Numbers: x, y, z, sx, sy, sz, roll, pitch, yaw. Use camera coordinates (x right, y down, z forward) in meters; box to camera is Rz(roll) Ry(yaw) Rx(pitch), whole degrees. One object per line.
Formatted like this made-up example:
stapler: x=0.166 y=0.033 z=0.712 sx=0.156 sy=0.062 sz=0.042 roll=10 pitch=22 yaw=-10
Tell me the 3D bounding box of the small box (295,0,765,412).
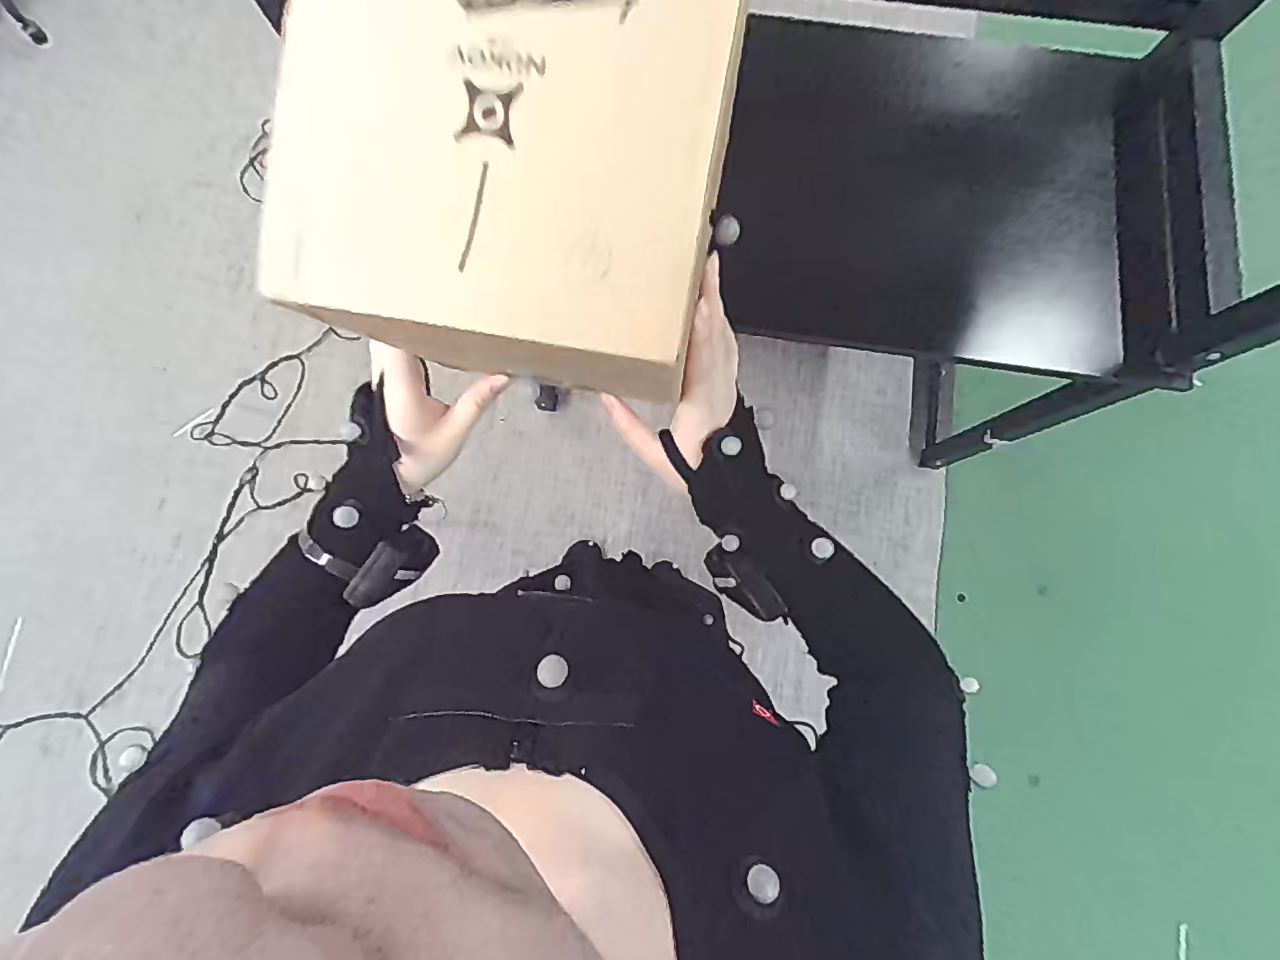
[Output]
small box: x=-0.039 y=-0.139 z=0.289 sx=0.168 sy=0.176 sz=0.179 roll=10 pitch=94 yaw=4
